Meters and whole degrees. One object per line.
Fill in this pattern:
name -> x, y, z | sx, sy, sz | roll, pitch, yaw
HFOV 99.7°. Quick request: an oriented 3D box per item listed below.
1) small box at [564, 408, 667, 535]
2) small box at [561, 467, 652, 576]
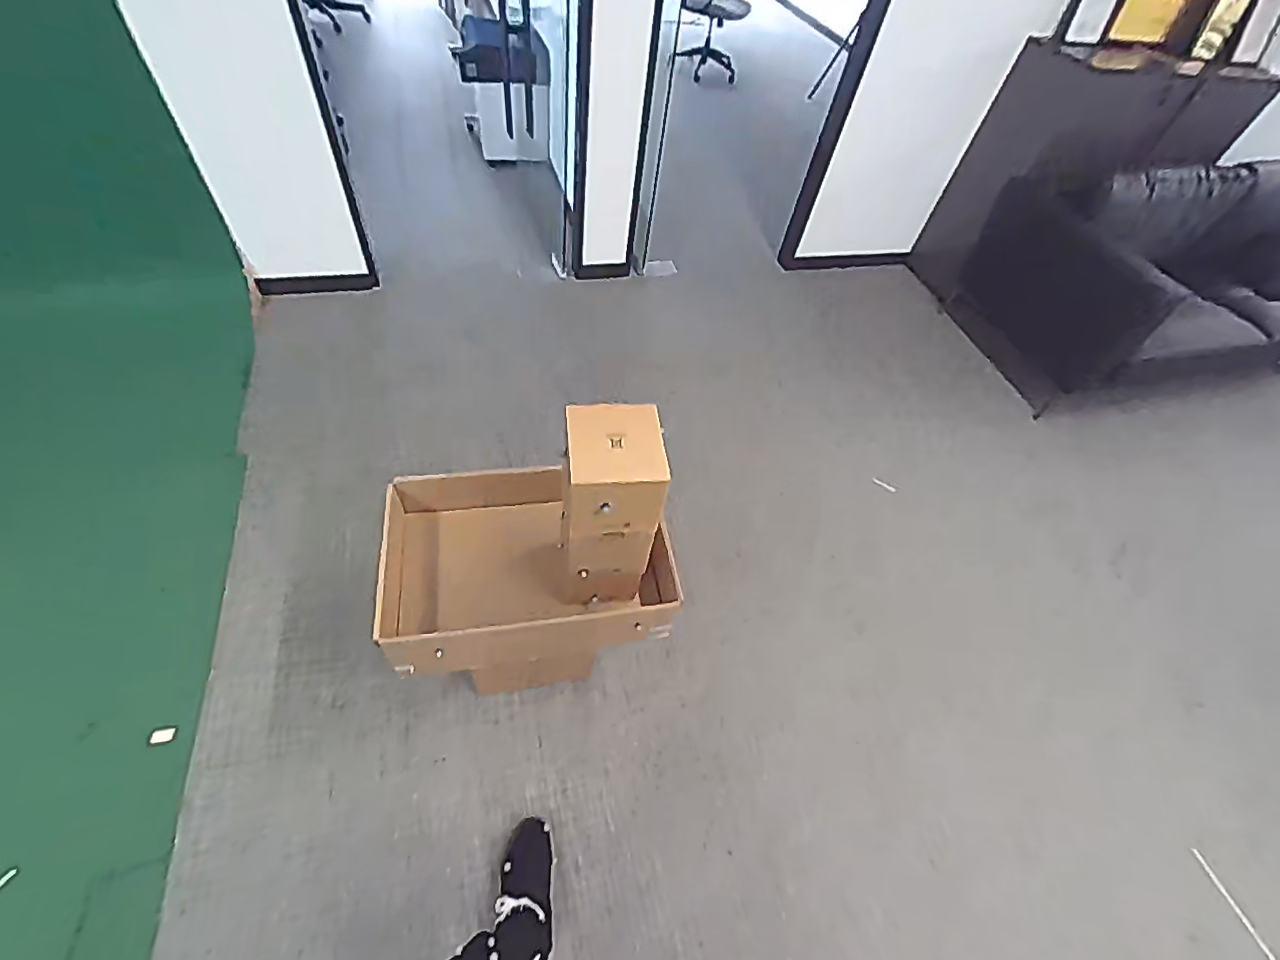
small box -> -0.052, -0.009, 0.983 | 0.168, 0.176, 0.179 | -2, 53, -10
small box -> -0.074, 0.088, 1.111 | 0.168, 0.176, 0.179 | -2, 53, -10
